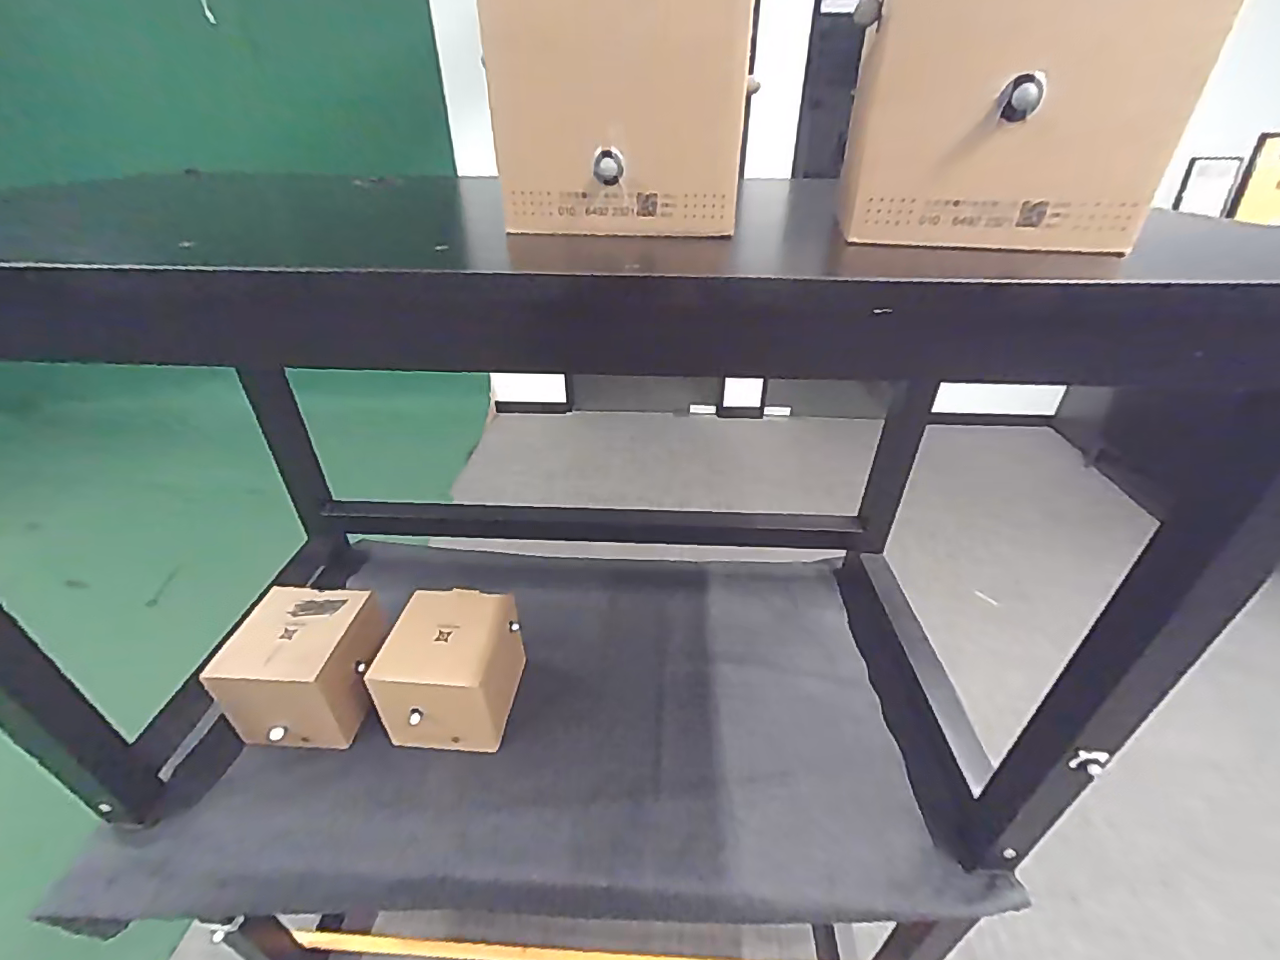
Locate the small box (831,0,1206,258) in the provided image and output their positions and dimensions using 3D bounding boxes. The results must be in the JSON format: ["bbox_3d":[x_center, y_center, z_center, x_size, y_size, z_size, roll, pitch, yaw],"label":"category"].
[{"bbox_3d":[0.237,-0.261,0.382,0.168,0.176,0.179,8,34,12],"label":"small box"}]

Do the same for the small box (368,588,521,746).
[{"bbox_3d":[-0.294,0.296,0.862,0.168,0.176,0.179,3,33,3],"label":"small box"}]

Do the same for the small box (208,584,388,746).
[{"bbox_3d":[-0.521,0.290,0.863,0.168,0.176,0.179,2,34,2],"label":"small box"}]
